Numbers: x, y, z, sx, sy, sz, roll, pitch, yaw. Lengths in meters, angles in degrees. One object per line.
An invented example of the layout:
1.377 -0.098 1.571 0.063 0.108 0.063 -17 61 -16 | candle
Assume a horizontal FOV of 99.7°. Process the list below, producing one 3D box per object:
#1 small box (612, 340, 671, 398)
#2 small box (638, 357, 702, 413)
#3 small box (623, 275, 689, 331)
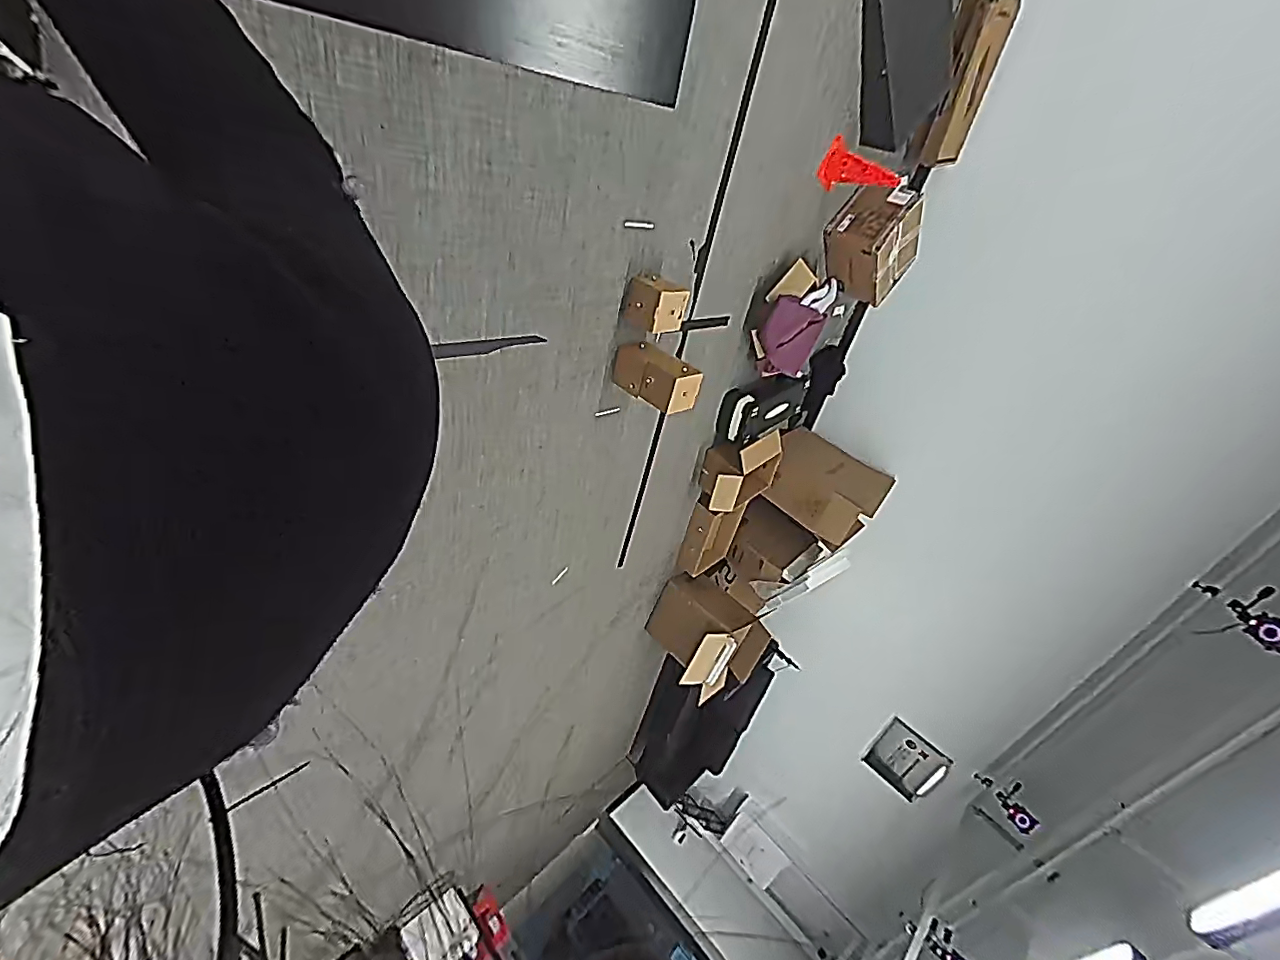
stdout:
0.001 -0.479 2.317 0.168 0.176 0.179 -23 140 -41 | small box
0.122 -0.399 2.243 0.179 0.176 0.168 -20 137 -42 | small box
0.059 -0.706 2.151 0.179 0.176 0.168 -20 137 -43 | small box
